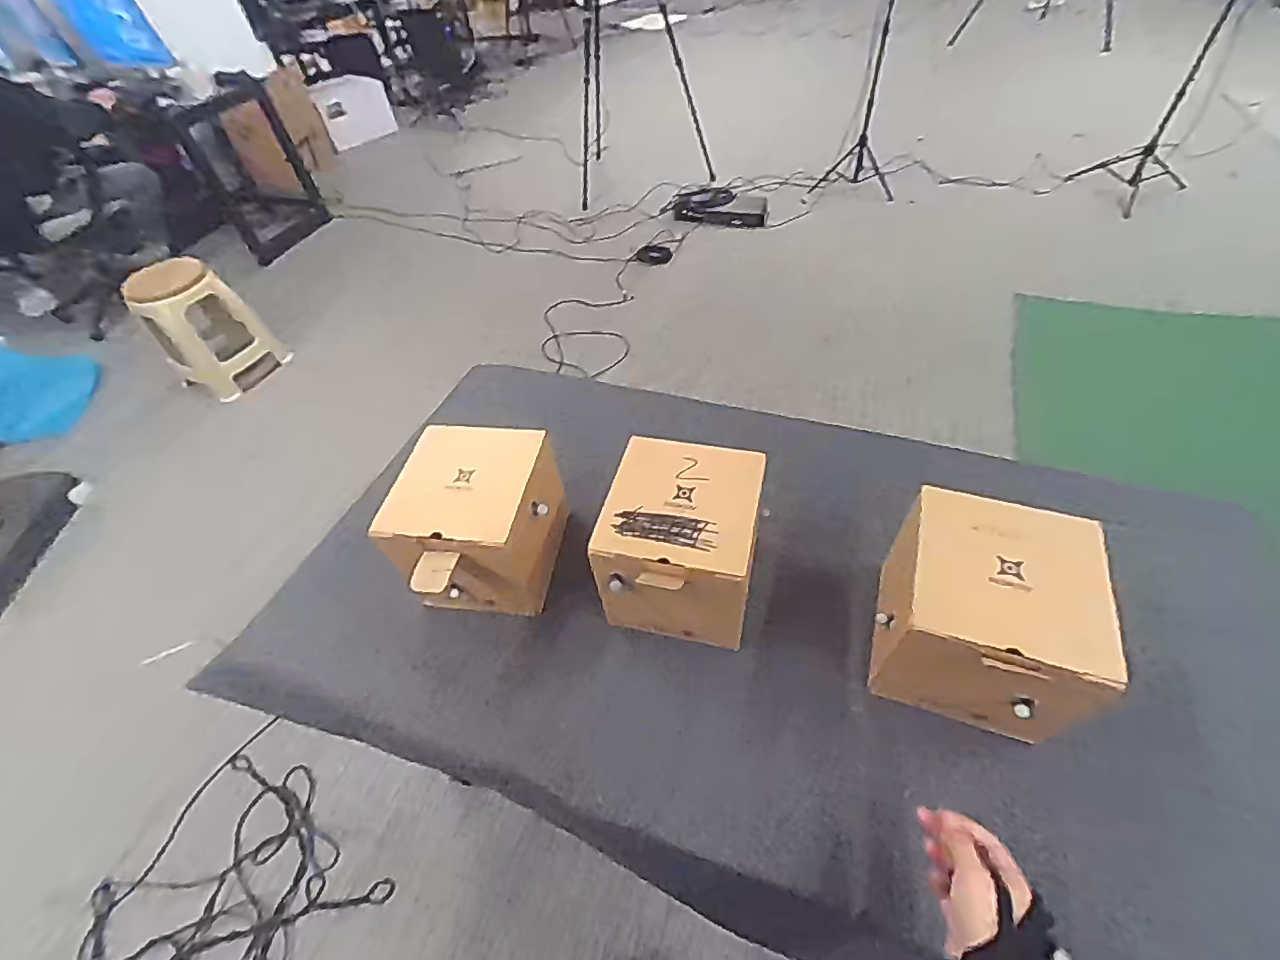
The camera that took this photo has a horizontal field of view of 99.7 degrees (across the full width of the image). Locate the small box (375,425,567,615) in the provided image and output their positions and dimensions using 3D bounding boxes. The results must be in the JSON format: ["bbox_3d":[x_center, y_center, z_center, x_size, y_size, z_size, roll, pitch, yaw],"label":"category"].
[{"bbox_3d":[-0.200,0.052,0.704,0.168,0.176,0.179,3,50,9],"label":"small box"}]

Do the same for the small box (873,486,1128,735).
[{"bbox_3d":[0.354,0.139,0.568,0.168,0.176,0.179,14,51,16],"label":"small box"}]
